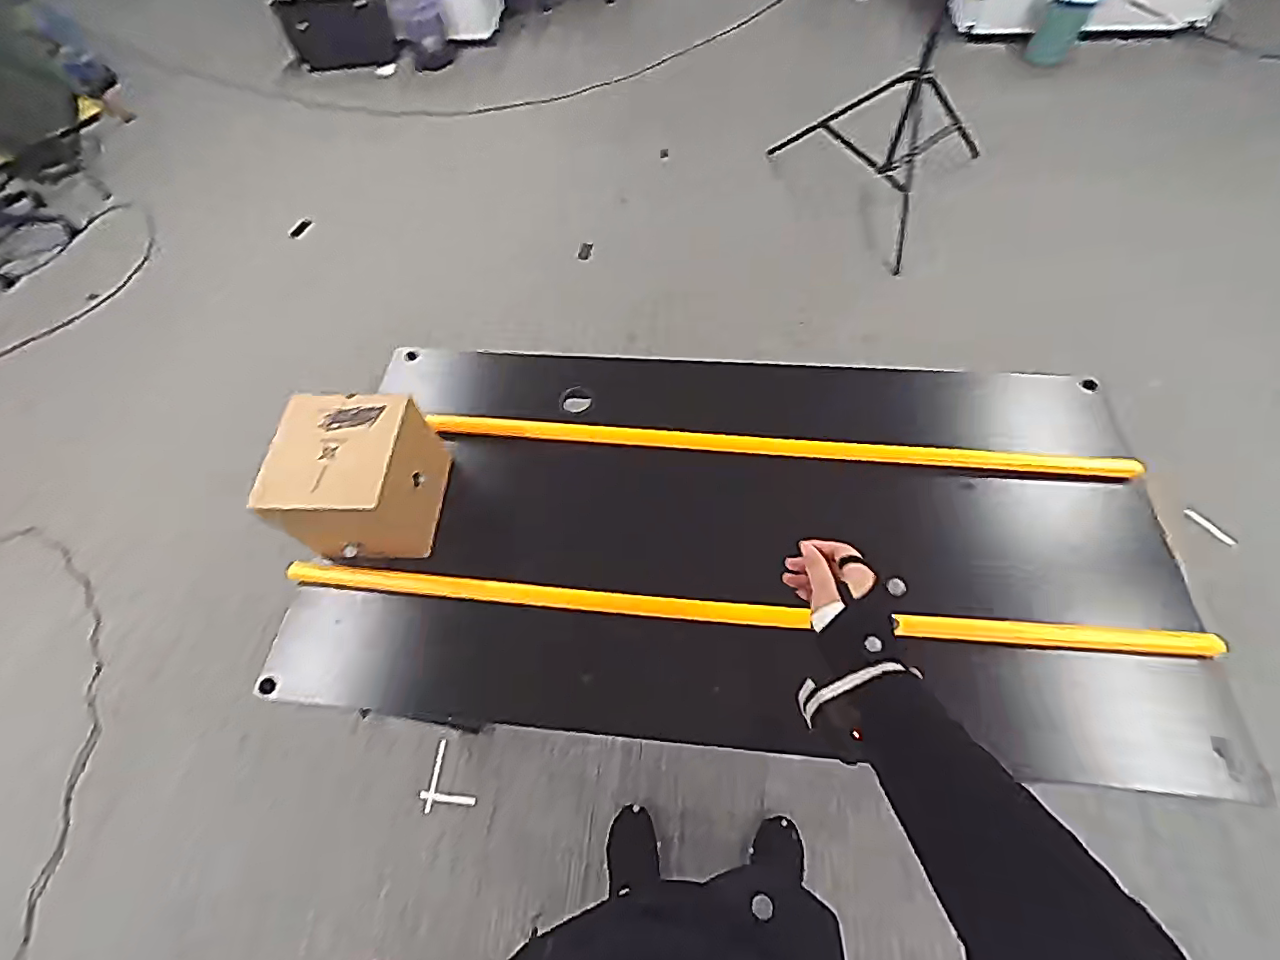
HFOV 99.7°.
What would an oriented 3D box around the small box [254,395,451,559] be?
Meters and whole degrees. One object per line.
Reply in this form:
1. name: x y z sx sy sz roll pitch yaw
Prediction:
1. small box: -0.385 -0.002 0.766 0.168 0.176 0.179 0 61 3
